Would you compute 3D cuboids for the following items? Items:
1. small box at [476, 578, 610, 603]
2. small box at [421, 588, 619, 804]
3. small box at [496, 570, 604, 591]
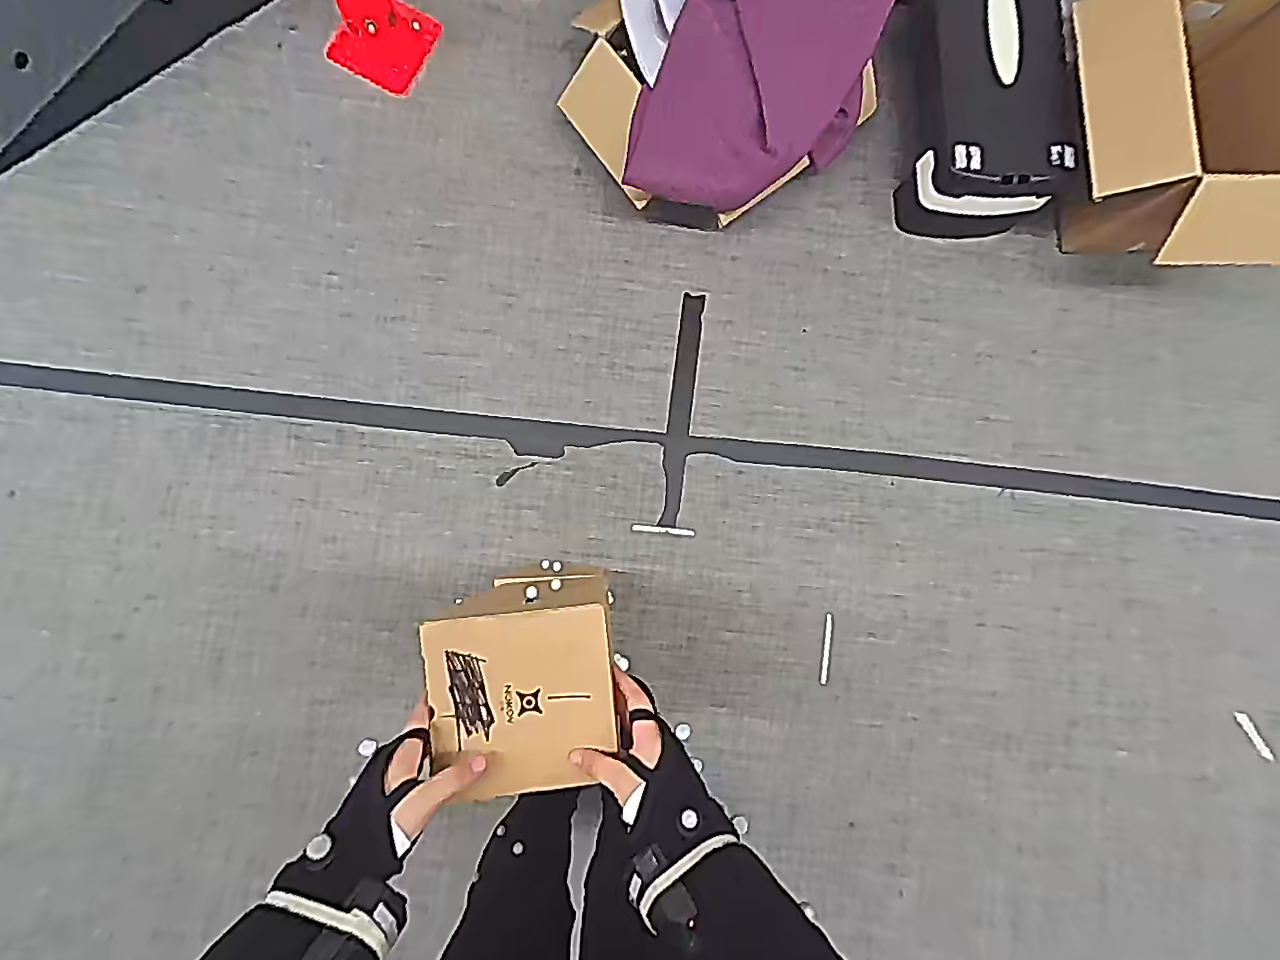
[{"bbox_3d":[-0.122,0.237,0.746,0.168,0.176,0.179,-4,86,-3],"label":"small box"},{"bbox_3d":[-0.115,0.214,0.582,0.179,0.176,0.168,-6,86,-4],"label":"small box"},{"bbox_3d":[-0.143,0.245,0.908,0.168,0.176,0.179,-2,86,-2],"label":"small box"}]
